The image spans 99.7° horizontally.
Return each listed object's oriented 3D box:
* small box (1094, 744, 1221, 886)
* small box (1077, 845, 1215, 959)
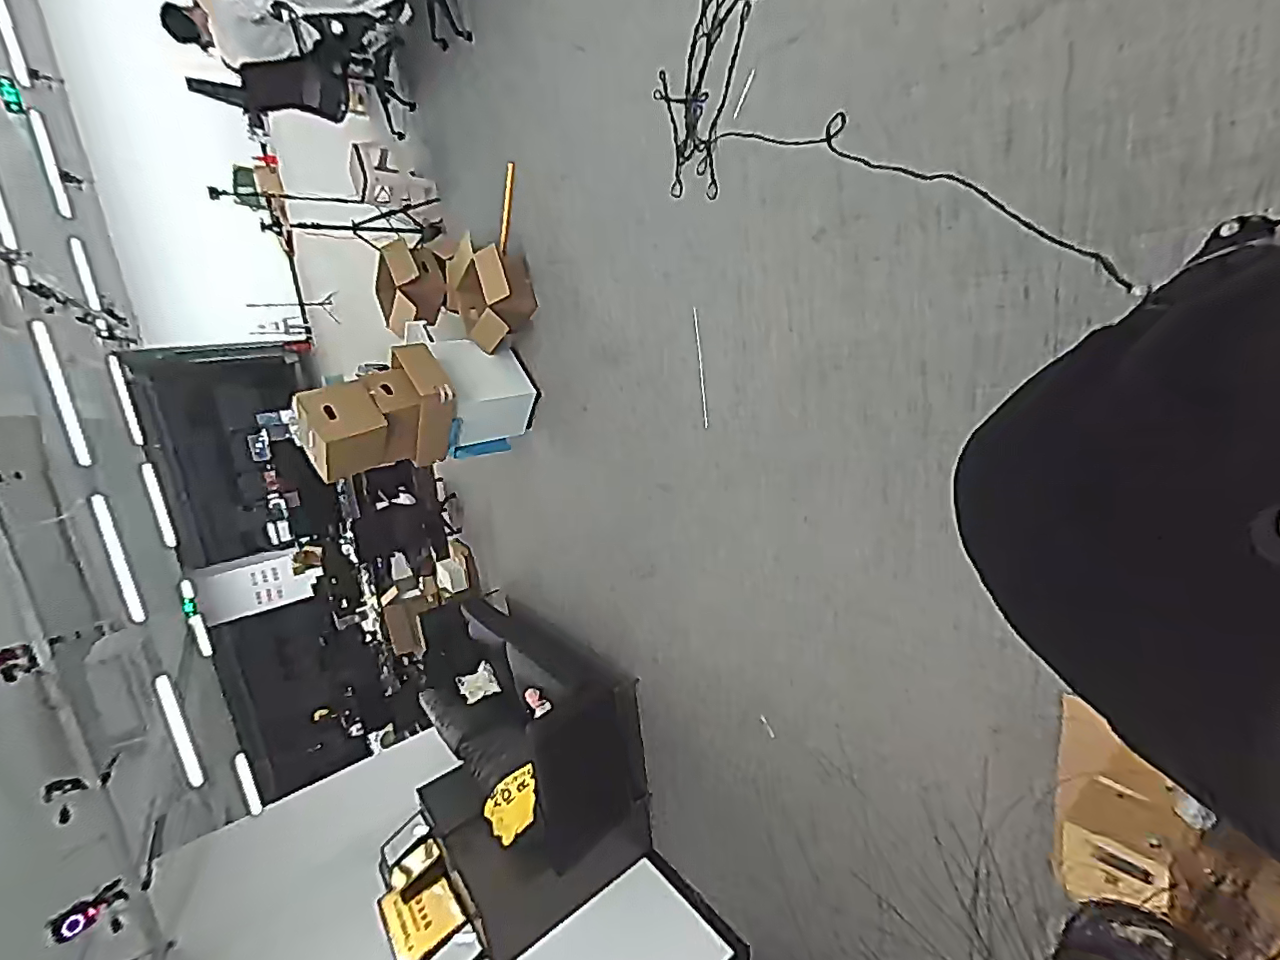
[{"bbox_3d":[1.163,0.738,1.216,0.168,0.176,0.179,17,117,52],"label":"small box"},{"bbox_3d":[1.190,0.987,1.272,0.179,0.176,0.168,33,128,46],"label":"small box"}]
